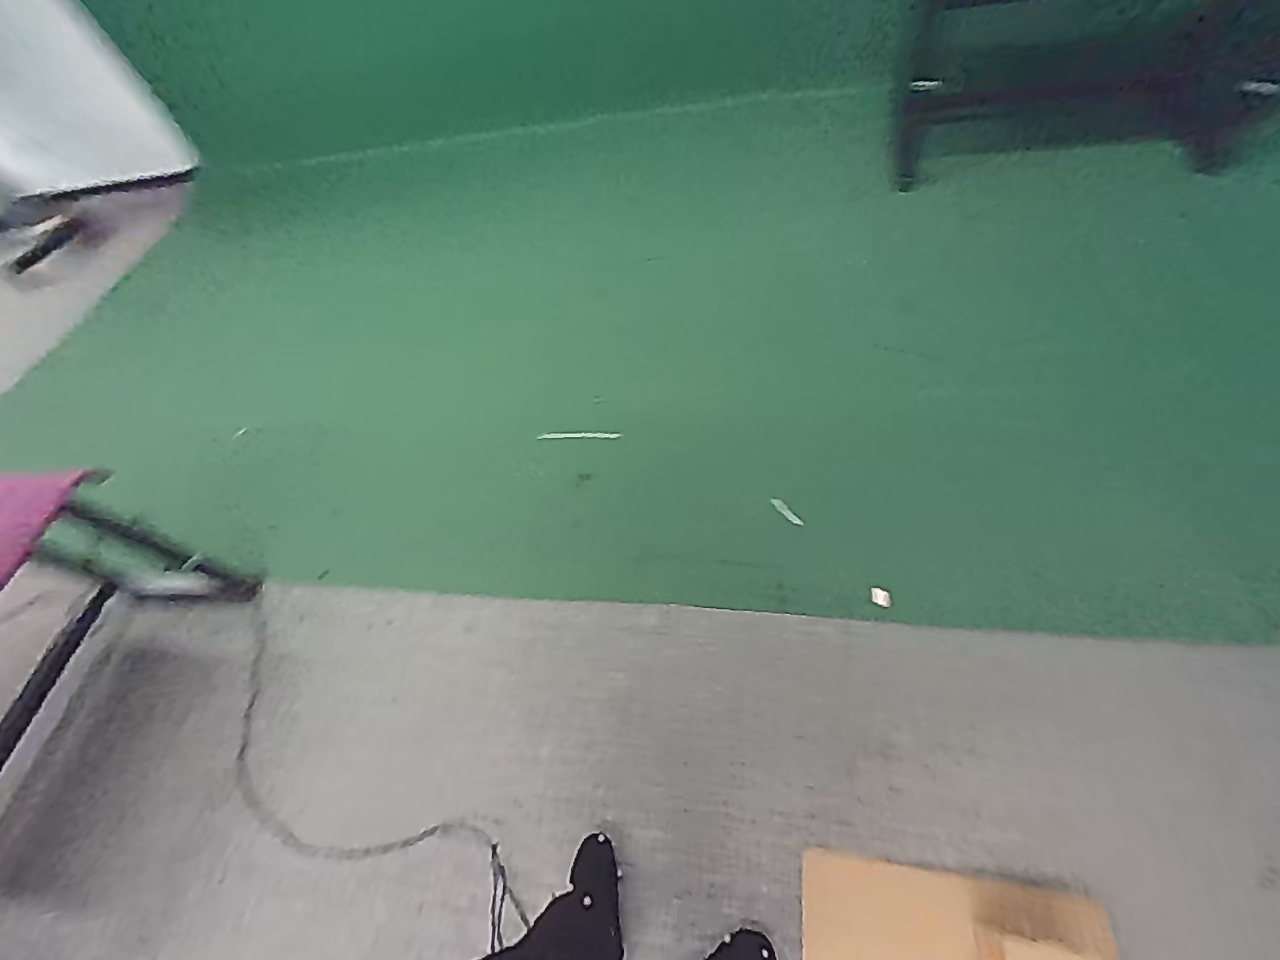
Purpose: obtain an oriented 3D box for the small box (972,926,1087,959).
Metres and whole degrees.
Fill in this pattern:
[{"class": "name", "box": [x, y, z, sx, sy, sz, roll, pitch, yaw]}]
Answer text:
[{"class": "small box", "box": [0.745, 0.972, 1.008, 0.168, 0.176, 0.179, 4, 59, 14]}]
